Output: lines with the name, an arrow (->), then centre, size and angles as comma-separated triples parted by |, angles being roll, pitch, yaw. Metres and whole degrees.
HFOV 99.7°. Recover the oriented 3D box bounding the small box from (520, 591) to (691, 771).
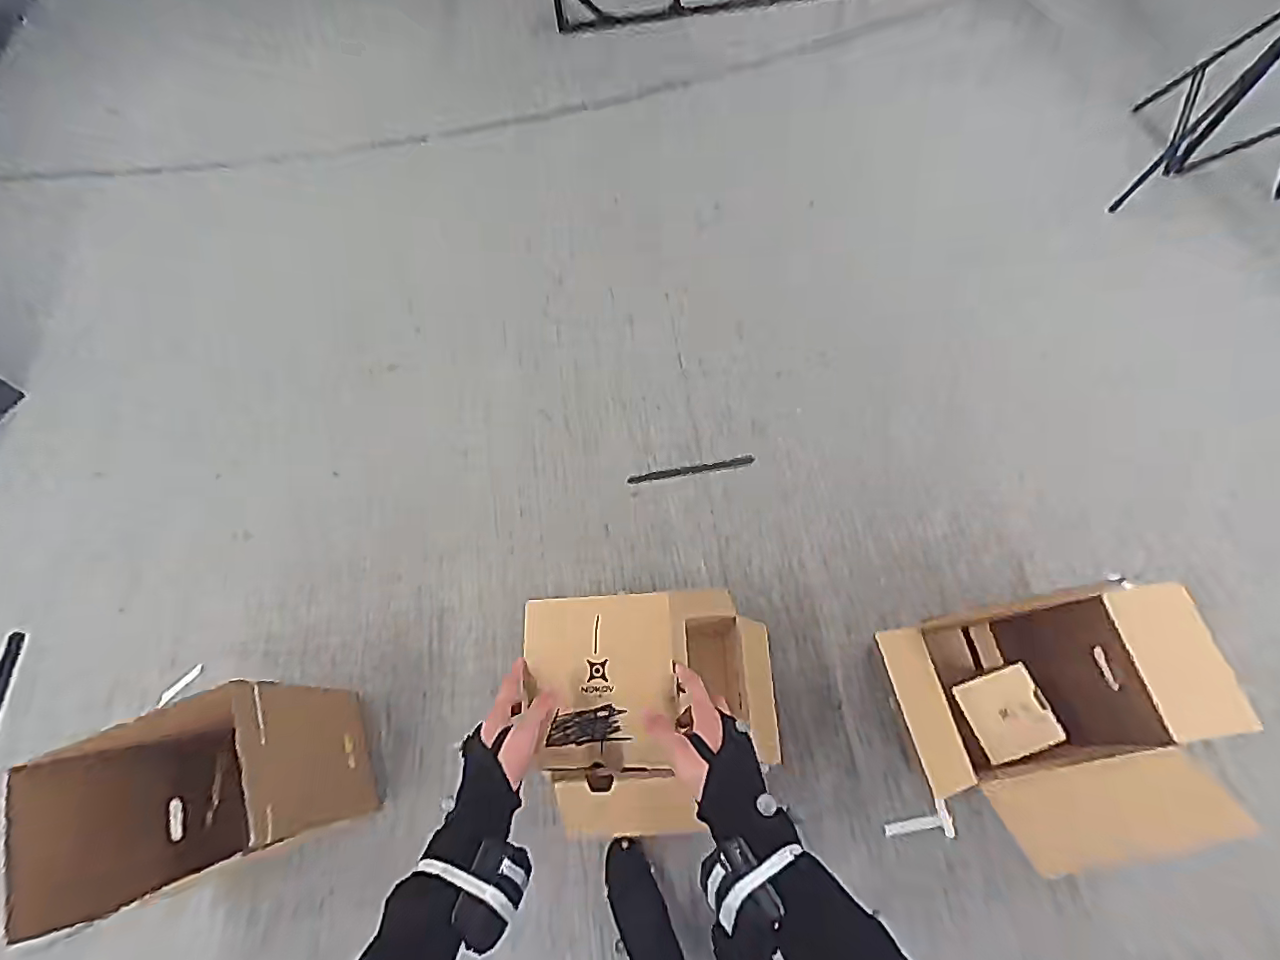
small box -> -0.031, 0.232, 0.641 | 0.168, 0.176, 0.179 | -5, 71, 9
